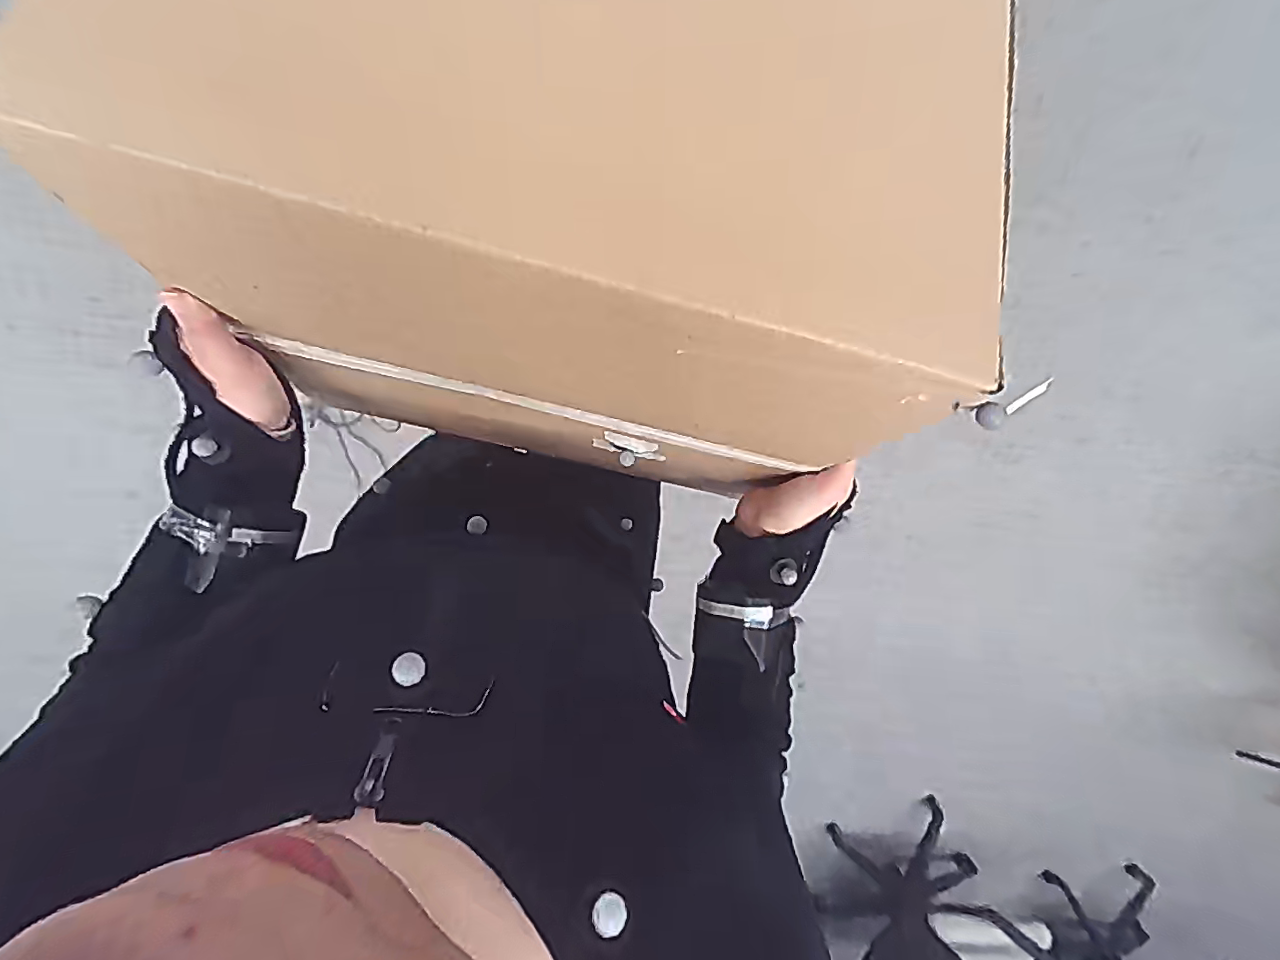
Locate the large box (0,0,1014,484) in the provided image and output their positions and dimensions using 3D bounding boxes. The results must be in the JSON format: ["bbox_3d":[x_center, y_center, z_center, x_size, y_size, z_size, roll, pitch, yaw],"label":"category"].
[{"bbox_3d":[-0.037,-0.208,0.378,0.408,0.320,0.320,12,79,-8],"label":"large box"}]
